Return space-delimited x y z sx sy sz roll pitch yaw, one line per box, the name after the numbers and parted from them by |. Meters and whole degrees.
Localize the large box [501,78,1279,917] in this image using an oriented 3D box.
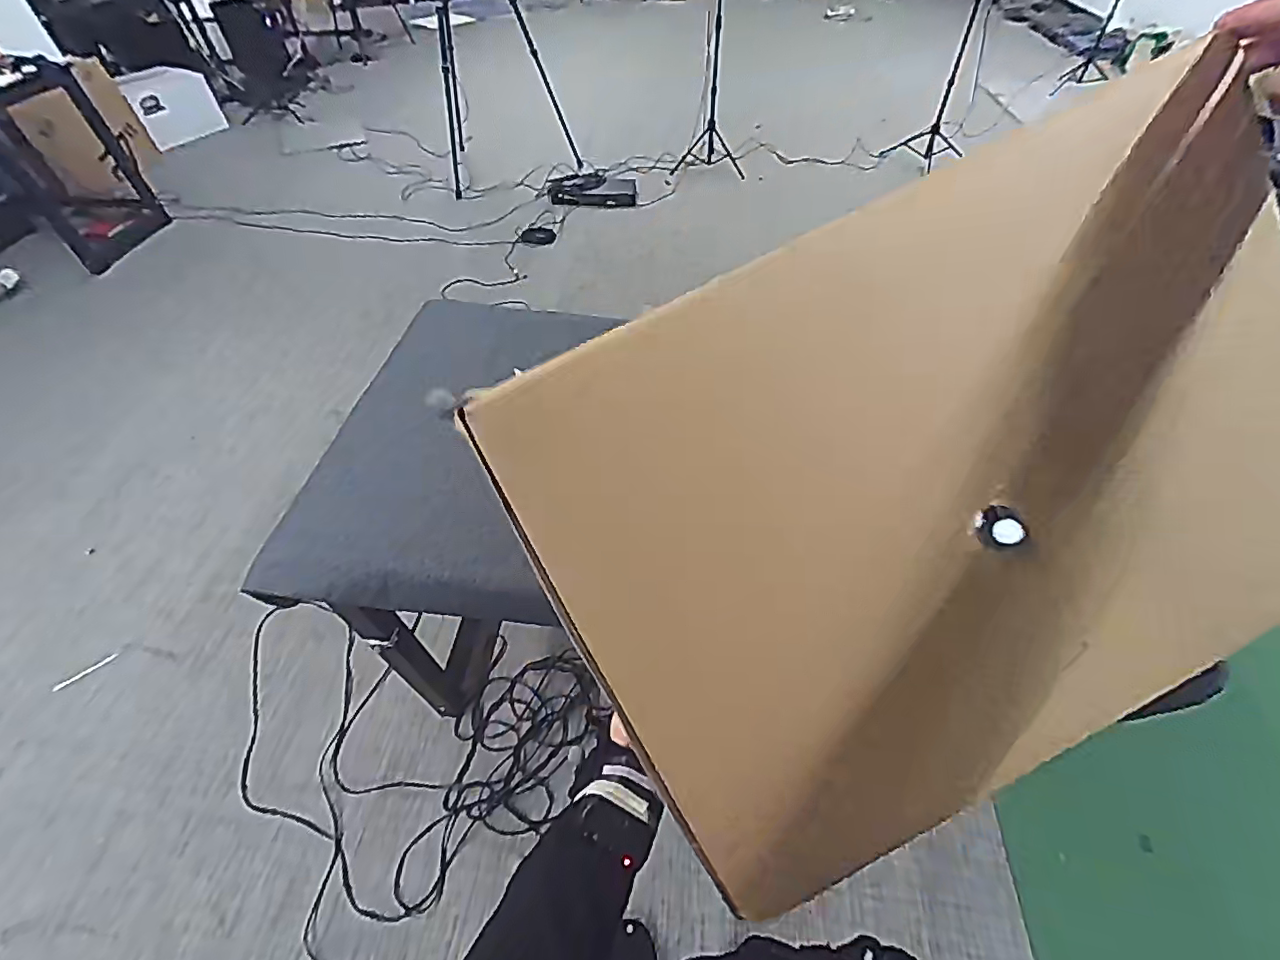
0.153 0.001 0.427 0.408 0.320 0.320 -29 11 -5 | large box
